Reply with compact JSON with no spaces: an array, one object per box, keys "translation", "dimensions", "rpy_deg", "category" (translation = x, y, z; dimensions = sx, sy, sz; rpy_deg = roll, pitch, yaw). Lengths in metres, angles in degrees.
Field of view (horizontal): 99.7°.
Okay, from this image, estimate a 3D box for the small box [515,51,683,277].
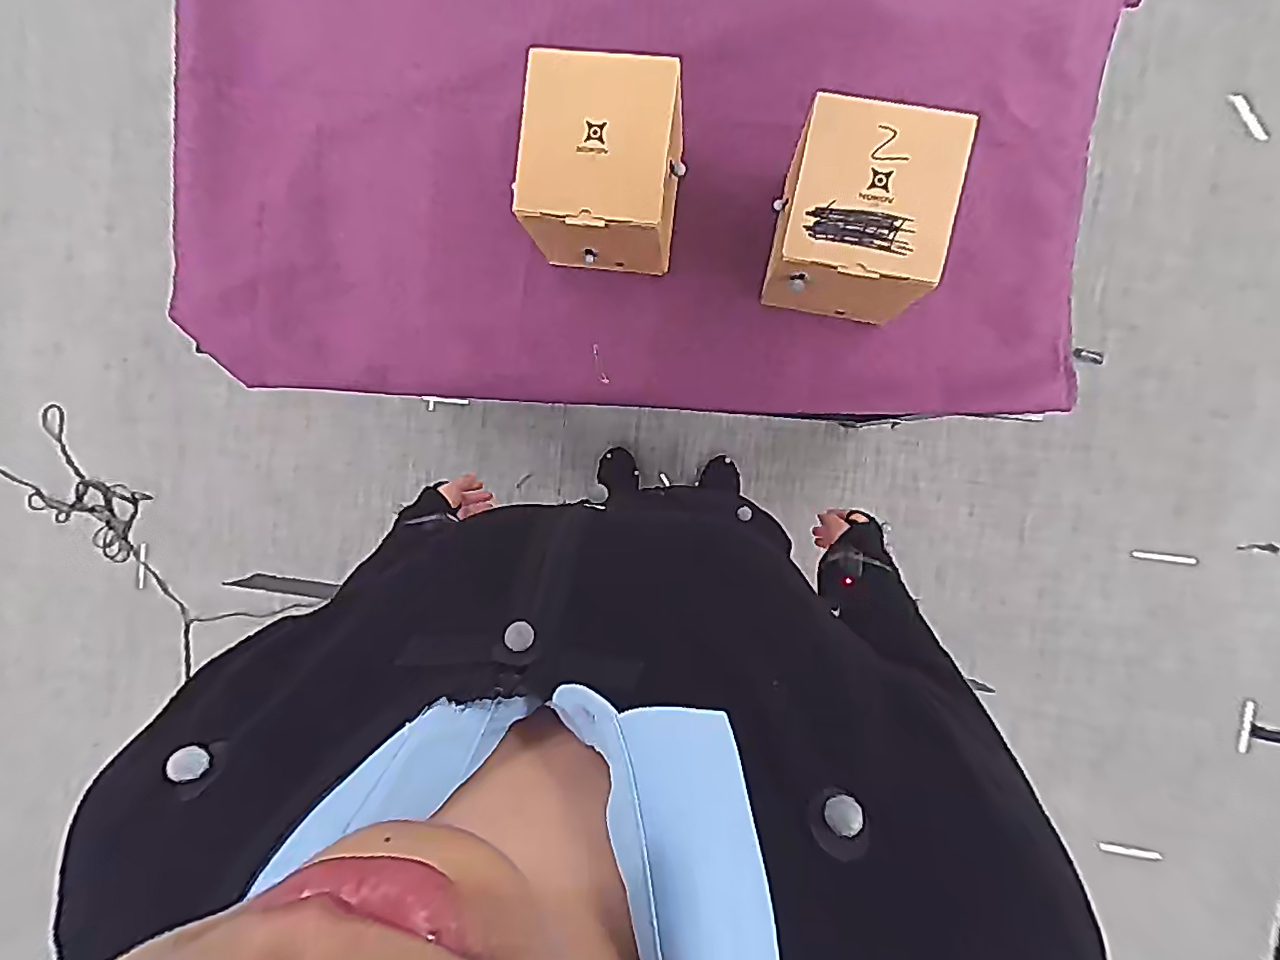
[{"translation":[-0.040,-0.371,0.663],"dimensions":[0.168,0.176,0.179],"rpy_deg":[8,94,4],"category":"small box"}]
